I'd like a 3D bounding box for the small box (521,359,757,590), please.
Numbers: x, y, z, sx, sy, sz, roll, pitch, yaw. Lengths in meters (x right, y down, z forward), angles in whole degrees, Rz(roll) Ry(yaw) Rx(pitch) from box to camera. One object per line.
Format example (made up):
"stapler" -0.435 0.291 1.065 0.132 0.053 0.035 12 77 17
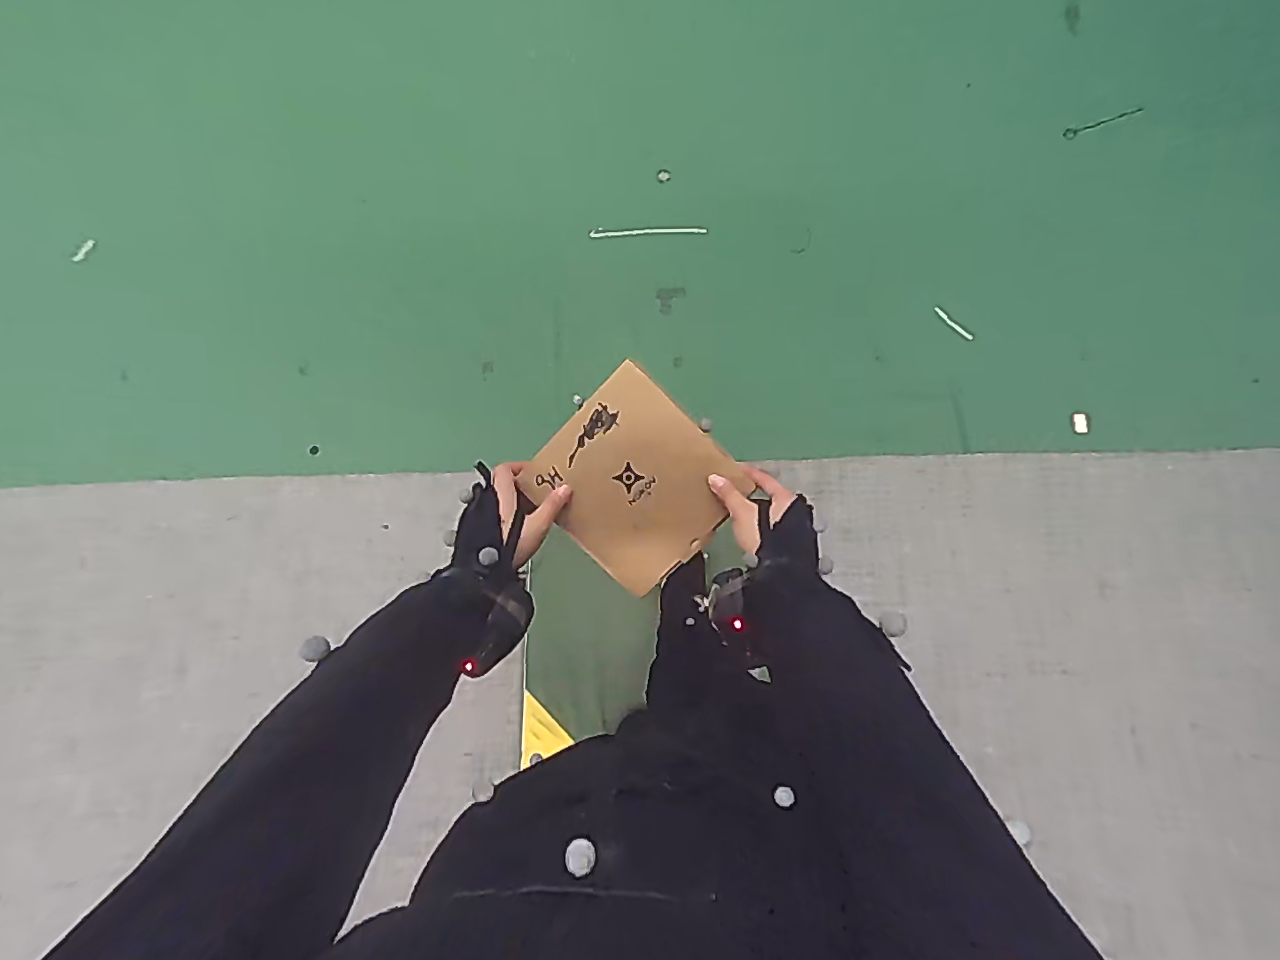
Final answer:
"small box" 0.002 -0.016 0.606 0.179 0.176 0.168 44 99 -5
